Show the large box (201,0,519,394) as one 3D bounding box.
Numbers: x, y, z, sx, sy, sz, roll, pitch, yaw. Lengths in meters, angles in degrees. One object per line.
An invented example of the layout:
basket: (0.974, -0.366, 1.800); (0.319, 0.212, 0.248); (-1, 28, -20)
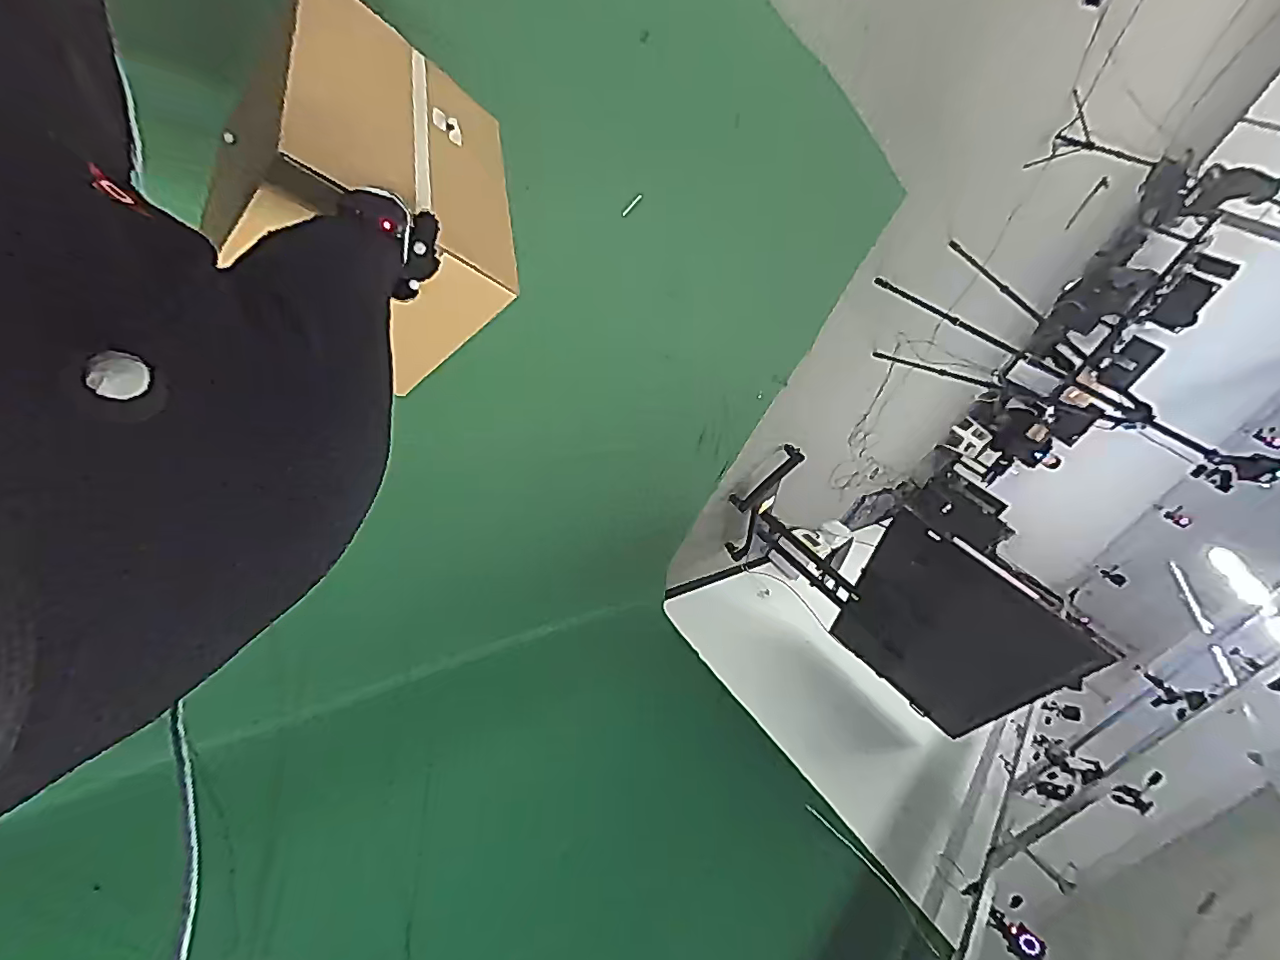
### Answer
large box: (-0.425, -0.407, 0.834); (0.320, 0.408, 0.320); (-29, 151, 30)
